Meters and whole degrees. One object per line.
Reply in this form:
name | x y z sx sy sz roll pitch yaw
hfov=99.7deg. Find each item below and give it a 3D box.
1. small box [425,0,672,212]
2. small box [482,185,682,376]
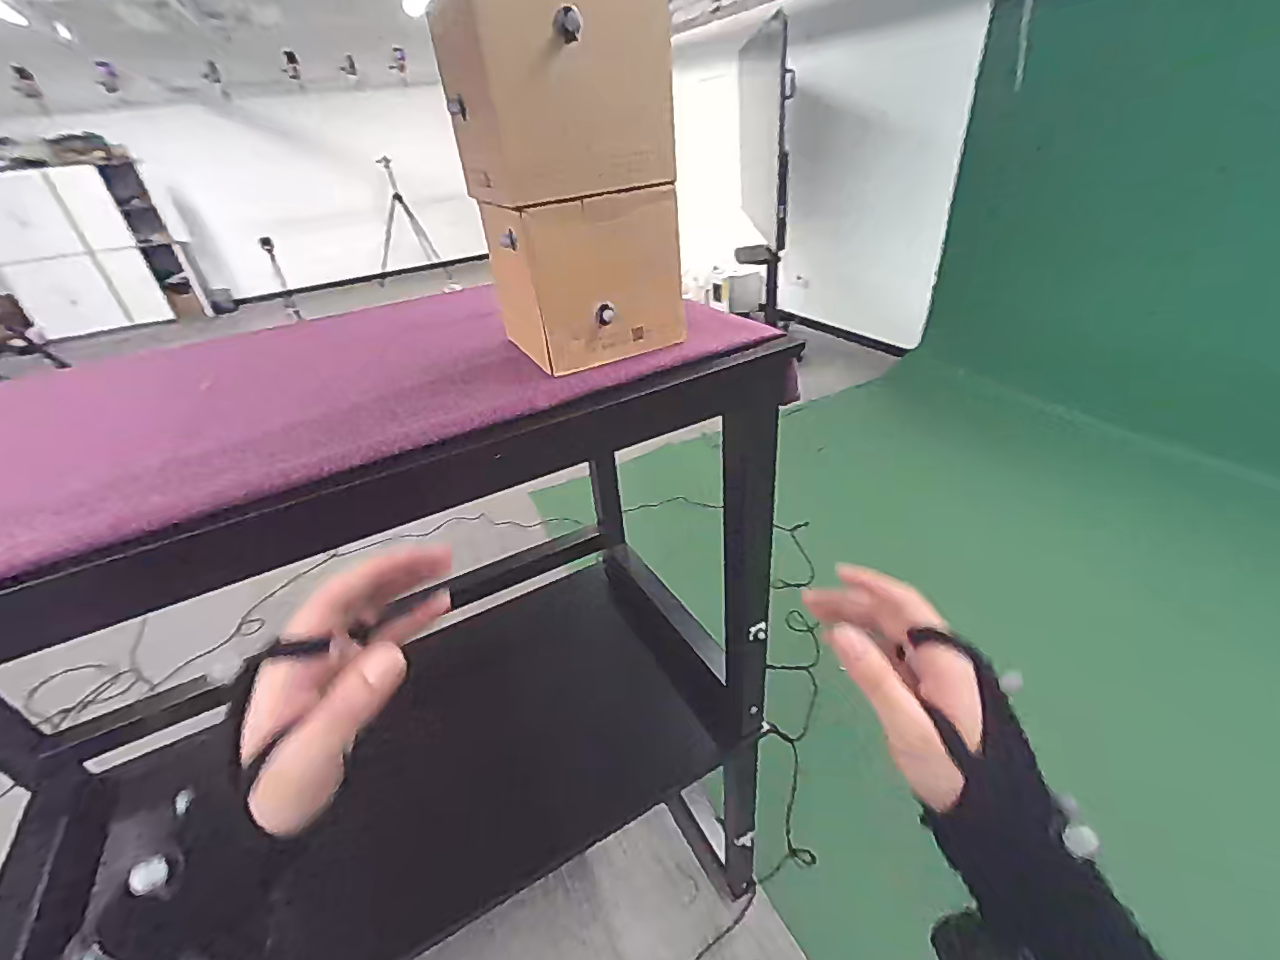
small box | -0.083 -0.367 0.522 0.179 0.176 0.168 -21 37 -20
small box | -0.065 -0.235 0.621 0.168 0.176 0.179 -20 36 -20
